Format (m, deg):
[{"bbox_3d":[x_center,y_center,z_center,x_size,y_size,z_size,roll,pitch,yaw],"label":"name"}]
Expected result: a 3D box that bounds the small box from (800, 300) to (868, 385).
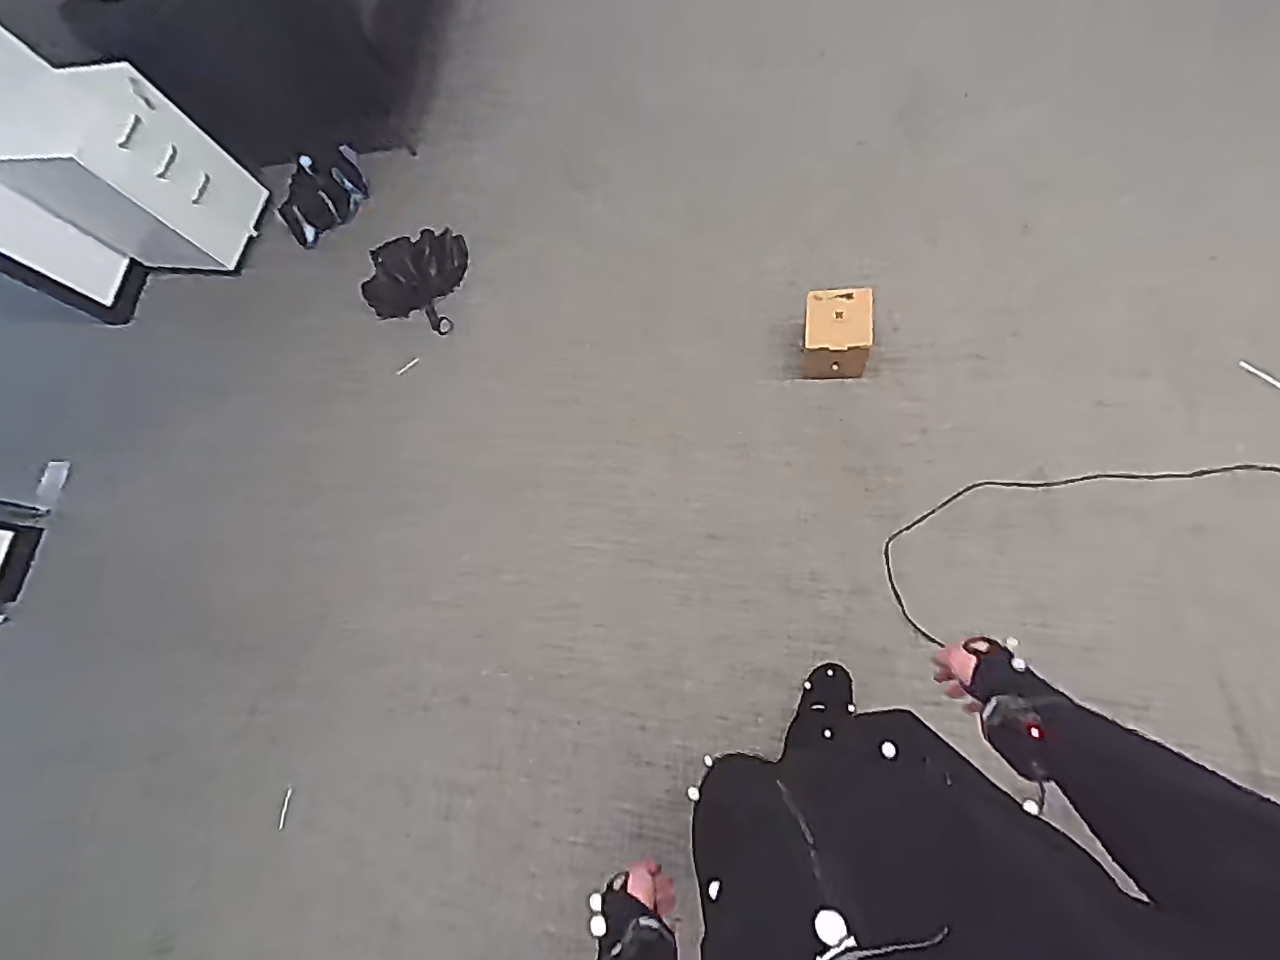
[{"bbox_3d":[0.538,-0.376,1.508,0.168,0.176,0.179,2,73,15],"label":"small box"}]
